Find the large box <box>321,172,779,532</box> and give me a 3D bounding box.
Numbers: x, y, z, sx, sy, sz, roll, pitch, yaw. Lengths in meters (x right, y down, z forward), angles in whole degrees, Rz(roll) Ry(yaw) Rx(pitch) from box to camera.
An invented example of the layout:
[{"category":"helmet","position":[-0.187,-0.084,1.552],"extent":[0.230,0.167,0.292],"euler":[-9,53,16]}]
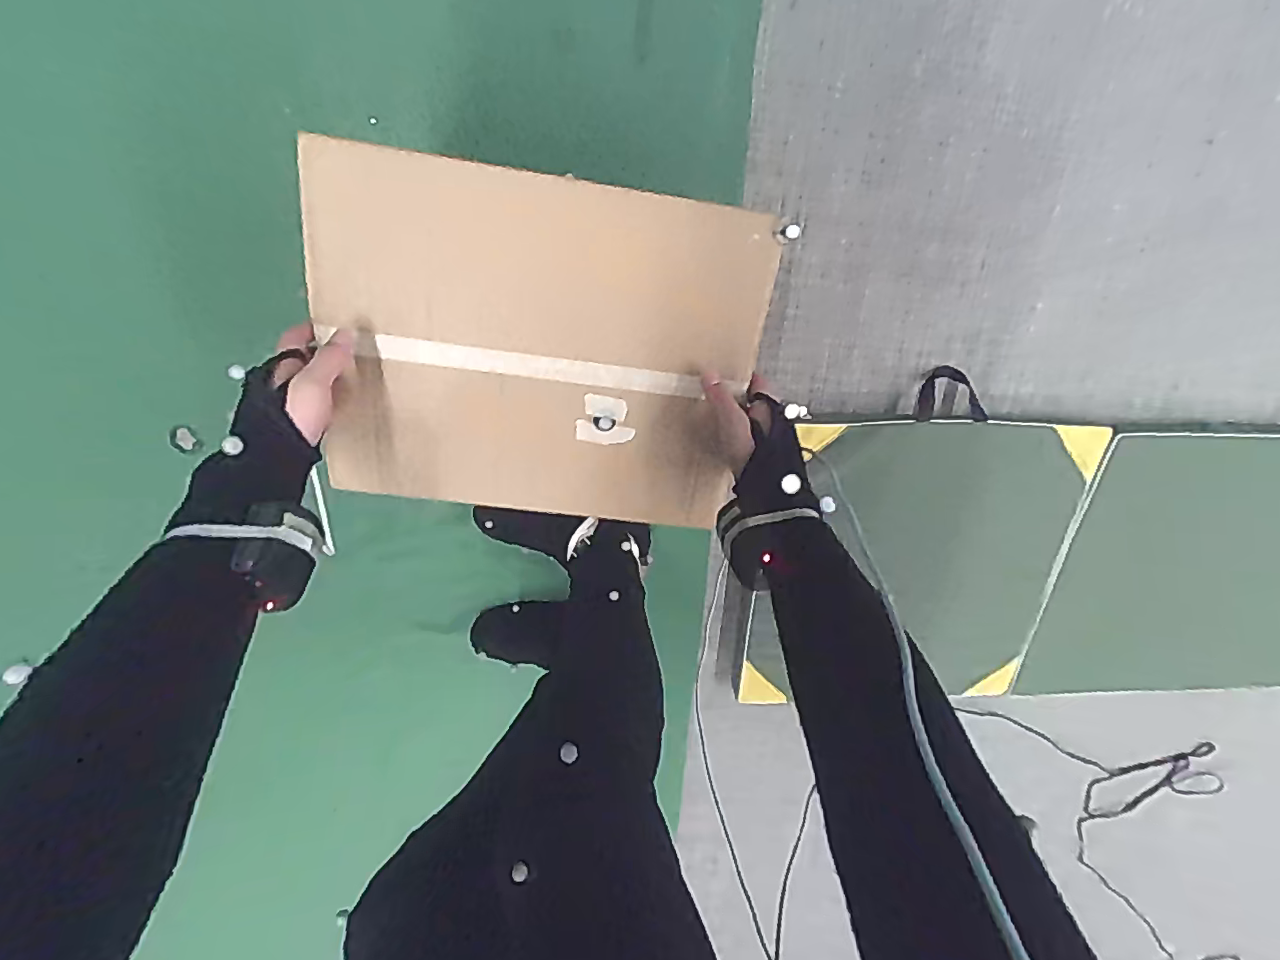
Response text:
[{"category":"large box","position":[-0.098,-0.155,0.659],"extent":[0.408,0.320,0.320],"euler":[6,113,-6]}]
